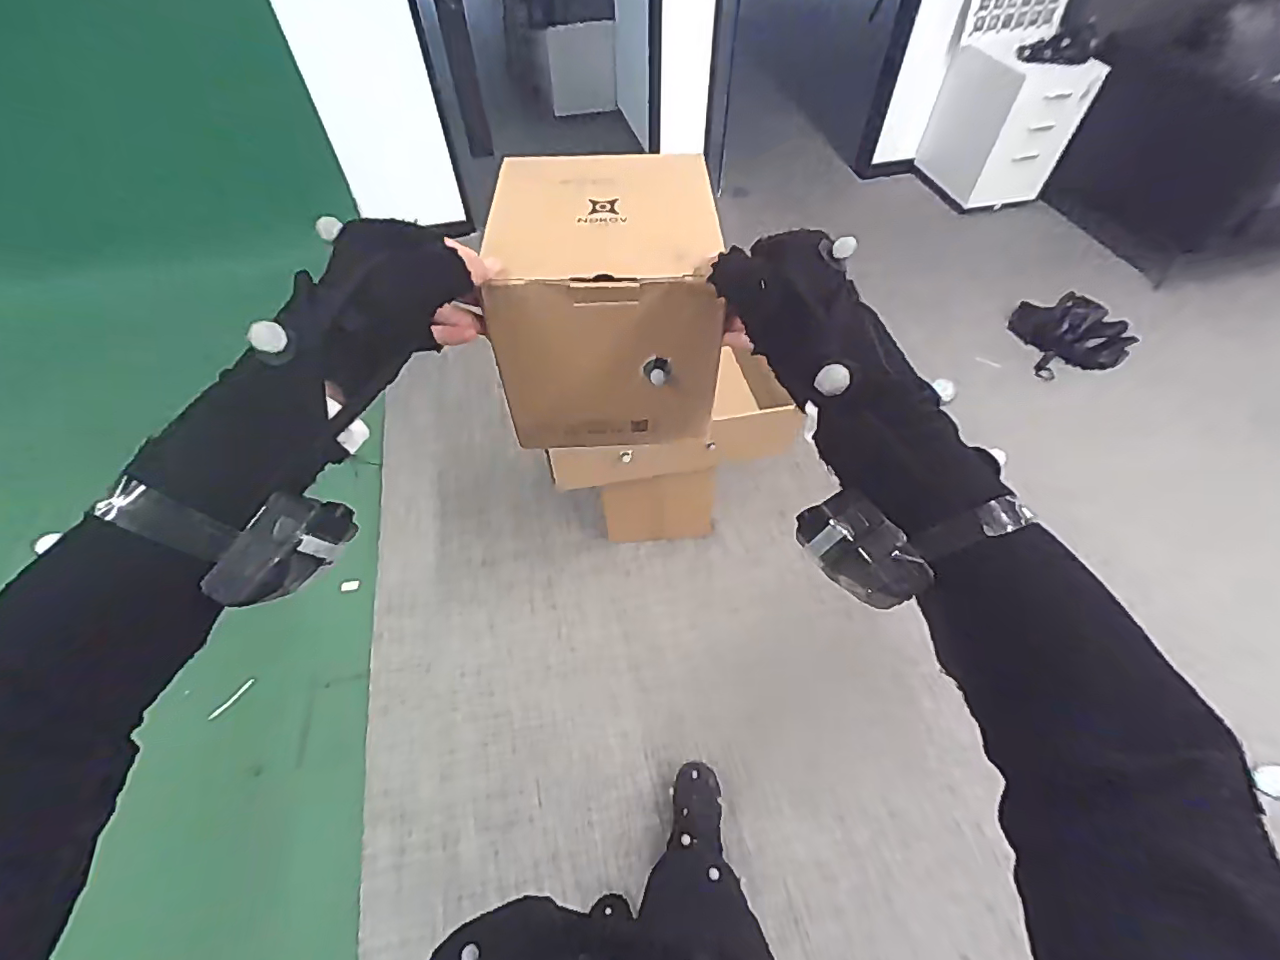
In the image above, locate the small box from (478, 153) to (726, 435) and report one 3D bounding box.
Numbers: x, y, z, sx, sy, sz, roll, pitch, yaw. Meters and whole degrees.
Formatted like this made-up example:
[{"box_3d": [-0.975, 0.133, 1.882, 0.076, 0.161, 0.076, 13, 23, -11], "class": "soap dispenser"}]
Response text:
[{"box_3d": [-0.026, -0.151, 0.461, 0.168, 0.176, 0.179, -2, 53, -2], "class": "small box"}]
